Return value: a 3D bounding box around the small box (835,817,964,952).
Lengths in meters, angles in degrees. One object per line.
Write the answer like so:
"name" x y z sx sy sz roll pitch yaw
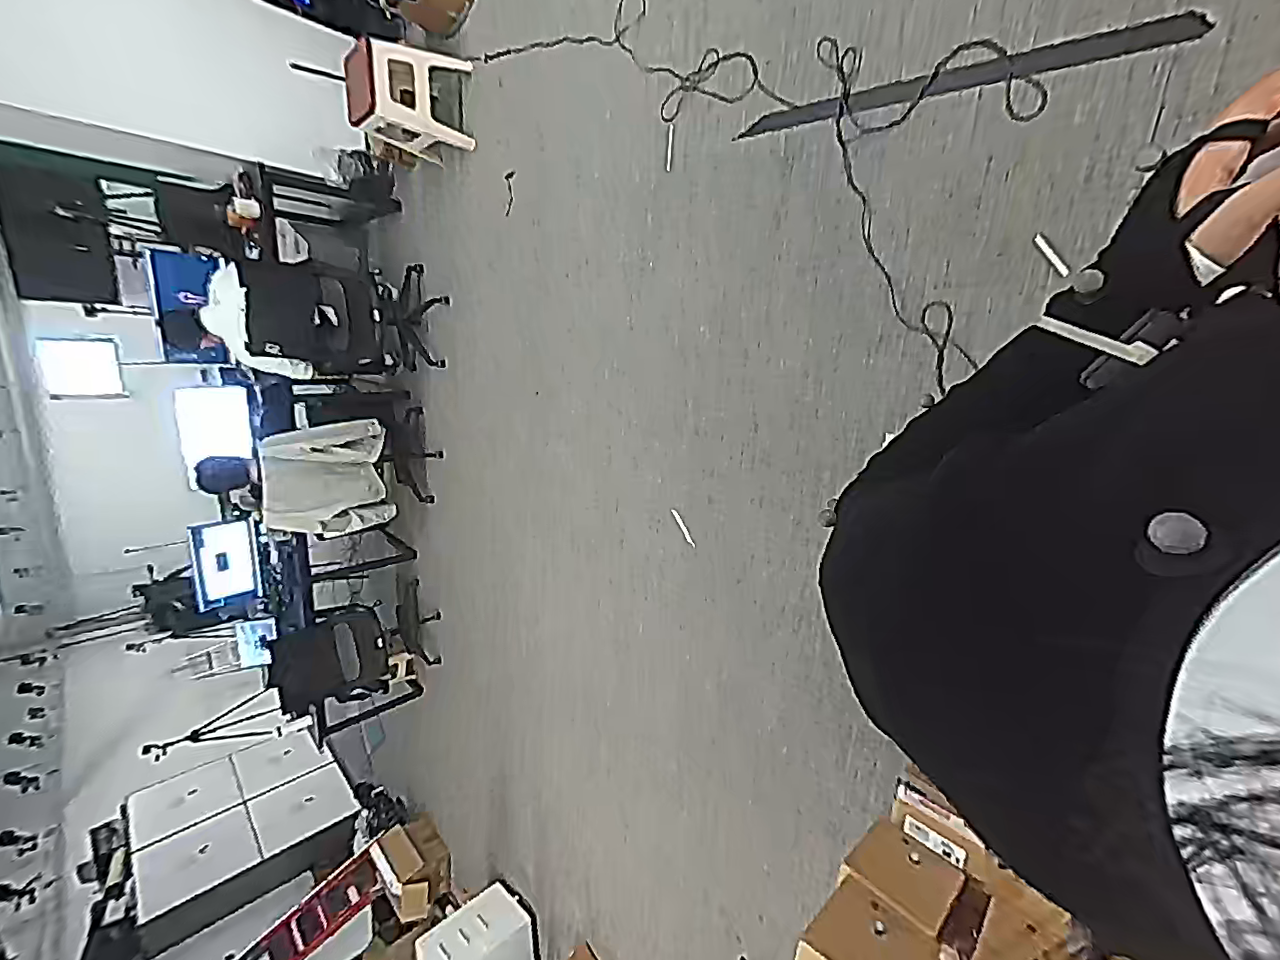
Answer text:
"small box" 0.484 0.795 1.021 0.168 0.176 0.179 21 111 43

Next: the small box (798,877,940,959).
"small box" 0.374 0.831 0.901 0.168 0.176 0.179 18 110 44

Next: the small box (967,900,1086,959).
"small box" 0.629 0.851 0.880 0.168 0.176 0.179 20 110 40
